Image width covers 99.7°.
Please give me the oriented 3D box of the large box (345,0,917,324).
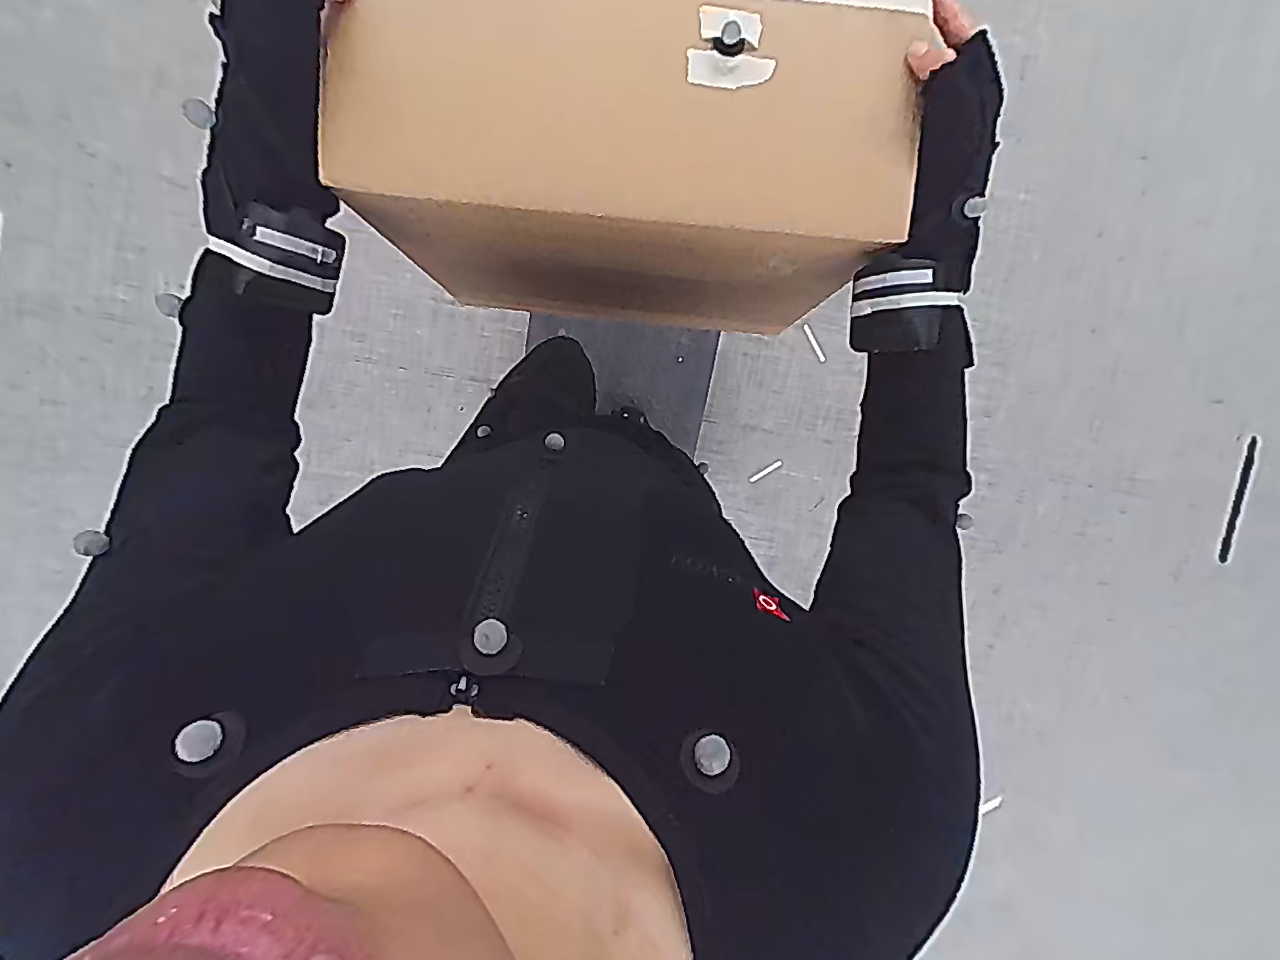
[{"bbox_3d":[-0.007,-0.353,0.527,0.408,0.320,0.320,4,93,-2],"label":"large box"}]
